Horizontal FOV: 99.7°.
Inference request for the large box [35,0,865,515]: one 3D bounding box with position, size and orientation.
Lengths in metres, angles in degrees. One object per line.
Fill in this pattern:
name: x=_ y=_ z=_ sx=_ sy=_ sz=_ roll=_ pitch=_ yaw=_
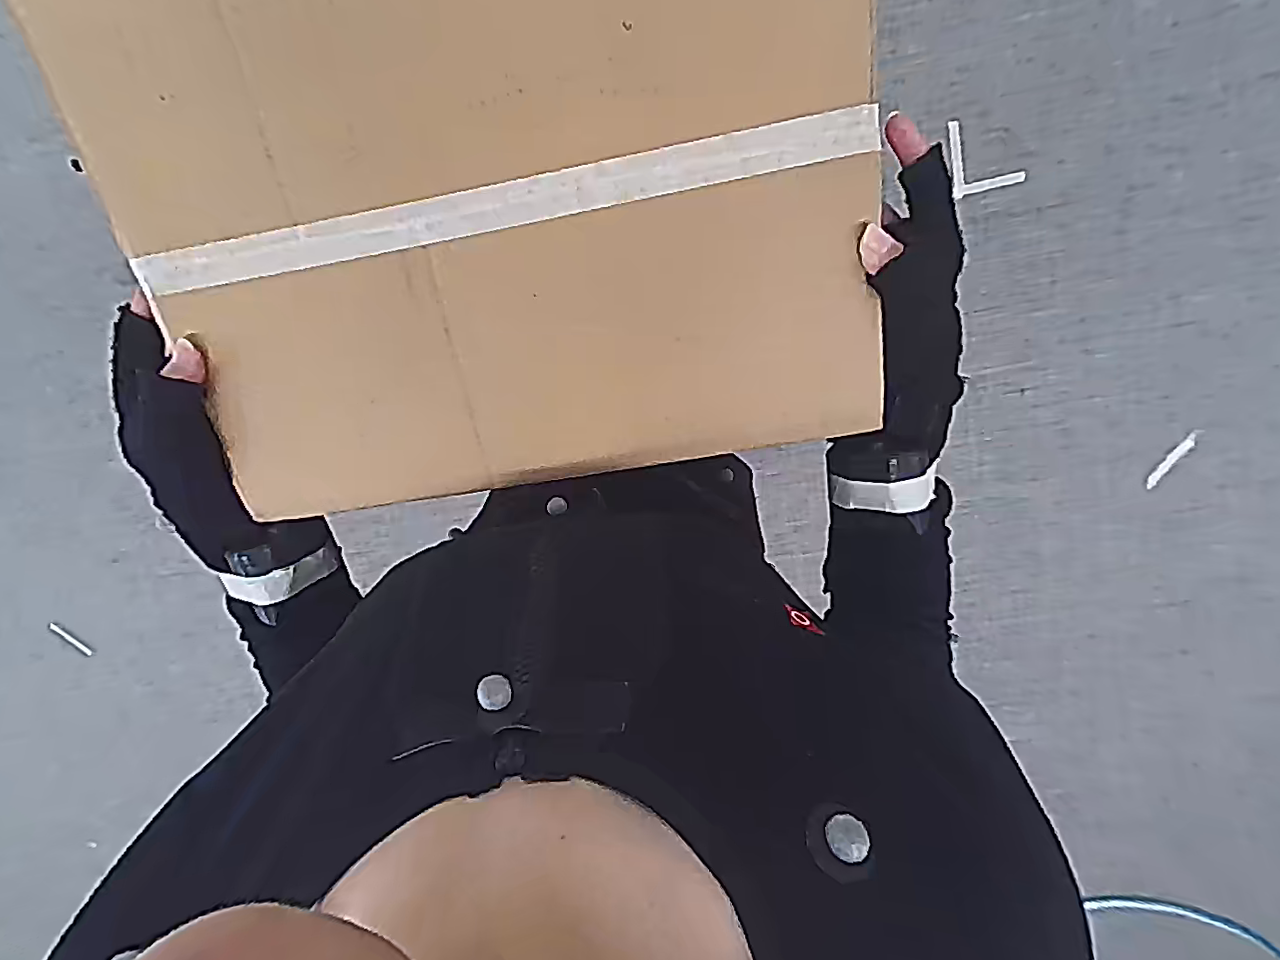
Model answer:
large box: x=-0.076 y=-0.201 z=0.436 sx=0.408 sy=0.320 sz=0.320 roll=-9 pitch=110 yaw=5
